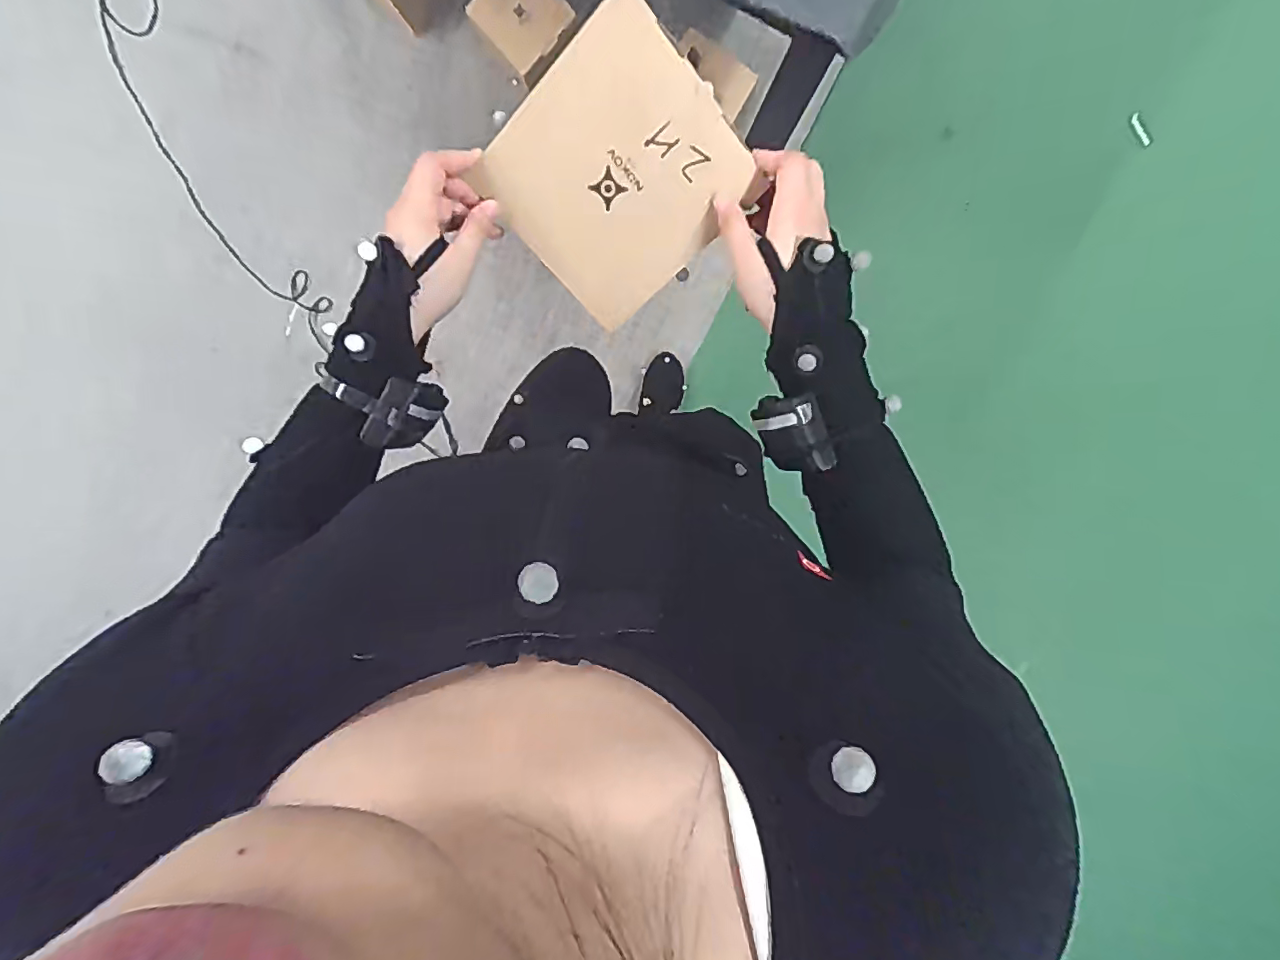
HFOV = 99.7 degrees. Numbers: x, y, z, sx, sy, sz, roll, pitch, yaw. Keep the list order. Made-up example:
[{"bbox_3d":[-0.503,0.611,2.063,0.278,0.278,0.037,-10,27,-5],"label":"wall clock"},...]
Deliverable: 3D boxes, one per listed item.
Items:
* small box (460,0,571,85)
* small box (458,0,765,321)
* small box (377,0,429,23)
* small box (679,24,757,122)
[{"bbox_3d":[-0.250,-0.983,1.183,0.168,0.176,0.179,-43,96,9],"label":"small box"},{"bbox_3d":[-0.018,-0.276,0.470,0.179,0.176,0.168,-38,114,22],"label":"small box"},{"bbox_3d":[-0.554,-1.148,1.159,0.179,0.176,0.168,38,101,-5],"label":"small box"},{"bbox_3d":[0.128,-0.836,1.201,0.179,0.176,0.168,31,102,-6],"label":"small box"}]
